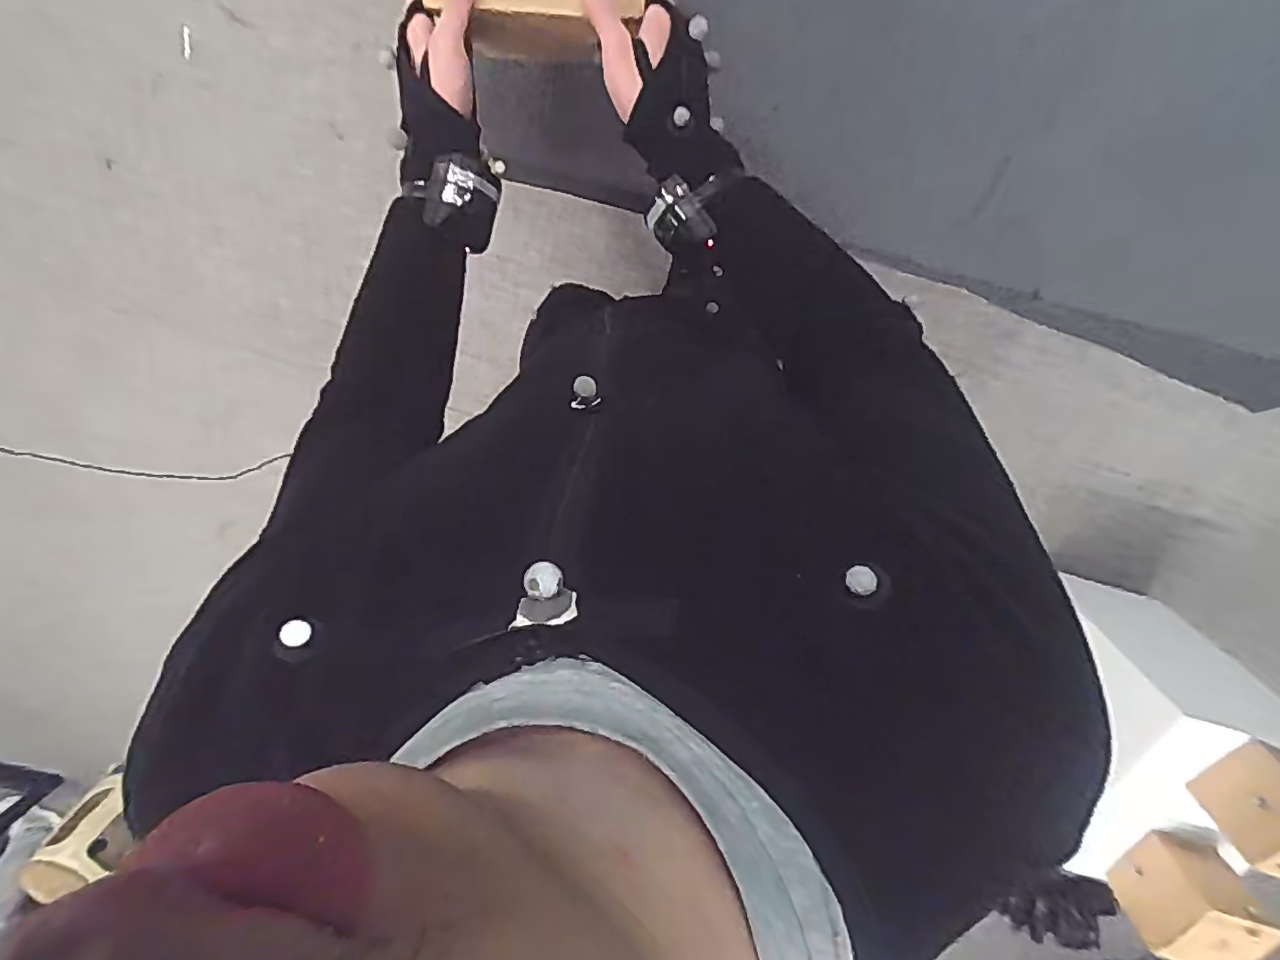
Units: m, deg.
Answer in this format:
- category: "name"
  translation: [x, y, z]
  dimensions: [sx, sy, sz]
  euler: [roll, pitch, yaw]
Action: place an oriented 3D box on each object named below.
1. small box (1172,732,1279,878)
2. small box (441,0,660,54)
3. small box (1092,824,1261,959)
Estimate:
- category: "small box"
  translation: [1.231, 0.645, 1.072]
  dimensions: [0.168, 0.176, 0.179]
  euler: [23, 114, -6]
- category: "small box"
  translation: [-0.067, -0.468, 0.435]
  dimensions: [0.179, 0.176, 0.168]
  euler: [4, 116, 1]
- category: "small box"
  translation: [1.164, 0.910, 1.197]
  dimensions: [0.168, 0.176, 0.179]
  euler: [17, 114, -3]
